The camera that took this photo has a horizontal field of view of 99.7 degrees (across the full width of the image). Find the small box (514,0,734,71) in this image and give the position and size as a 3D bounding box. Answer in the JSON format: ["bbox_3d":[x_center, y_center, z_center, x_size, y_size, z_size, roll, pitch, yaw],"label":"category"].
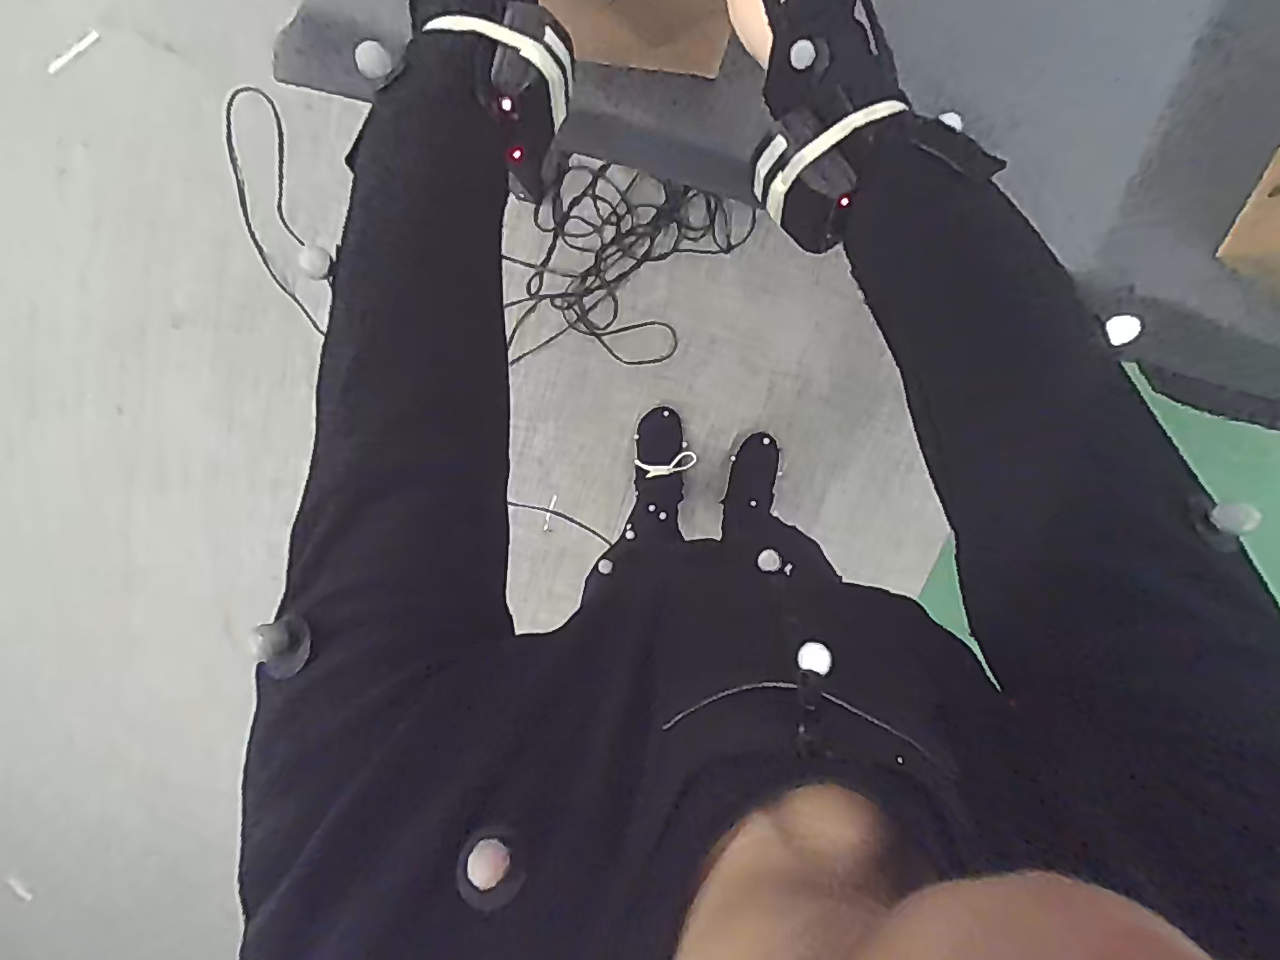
[{"bbox_3d":[-0.005,-0.442,0.401,0.179,0.176,0.168,6,103,-1],"label":"small box"}]
